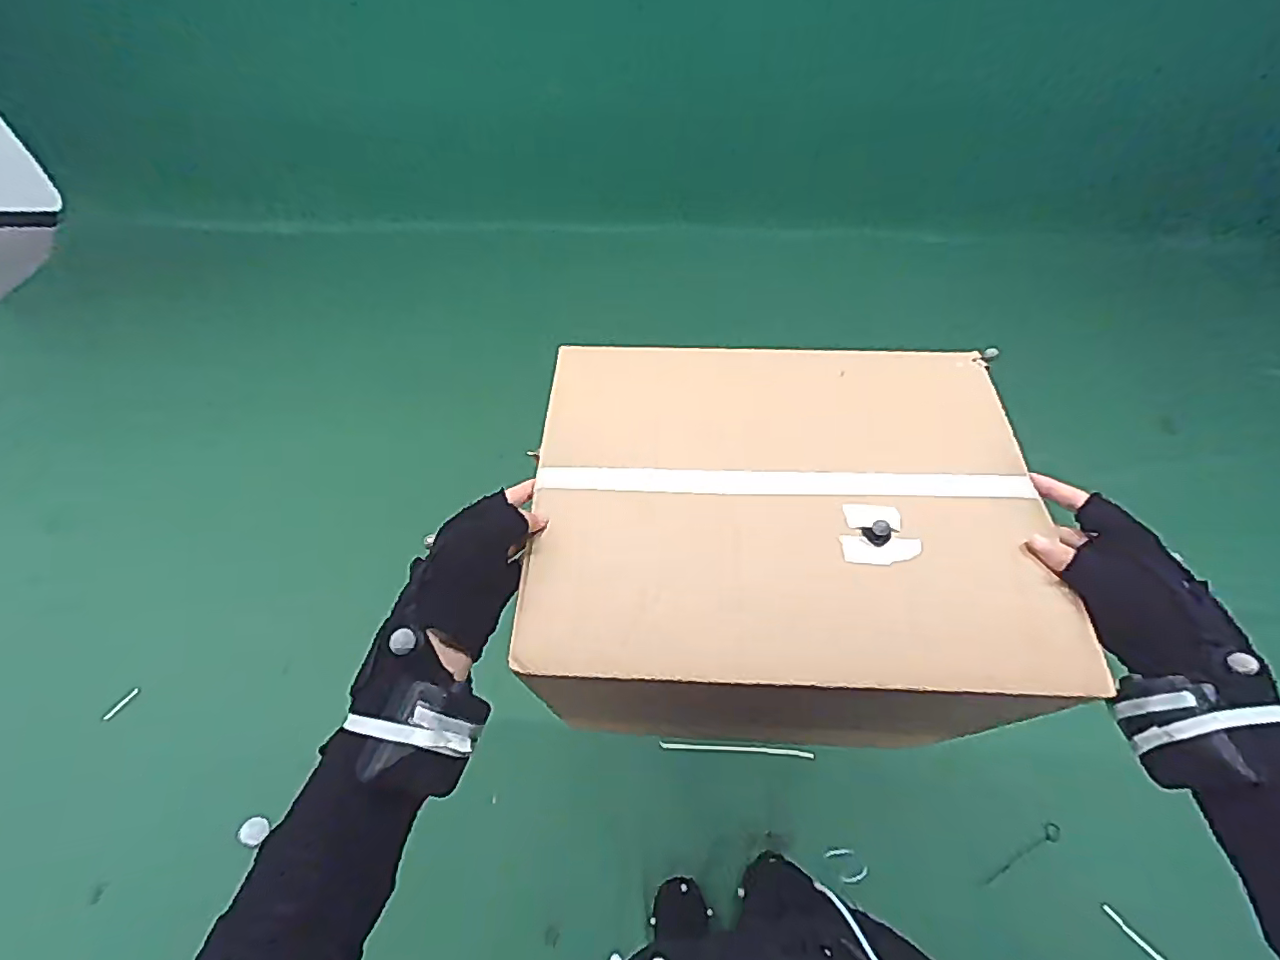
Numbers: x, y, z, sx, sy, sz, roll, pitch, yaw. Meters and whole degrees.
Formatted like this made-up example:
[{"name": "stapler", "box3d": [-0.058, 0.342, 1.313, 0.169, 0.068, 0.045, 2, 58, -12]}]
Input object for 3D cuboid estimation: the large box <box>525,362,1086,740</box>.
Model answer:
[{"name": "large box", "box3d": [0.120, 0.092, 0.585, 0.408, 0.320, 0.320, 1, 58, 3]}]
